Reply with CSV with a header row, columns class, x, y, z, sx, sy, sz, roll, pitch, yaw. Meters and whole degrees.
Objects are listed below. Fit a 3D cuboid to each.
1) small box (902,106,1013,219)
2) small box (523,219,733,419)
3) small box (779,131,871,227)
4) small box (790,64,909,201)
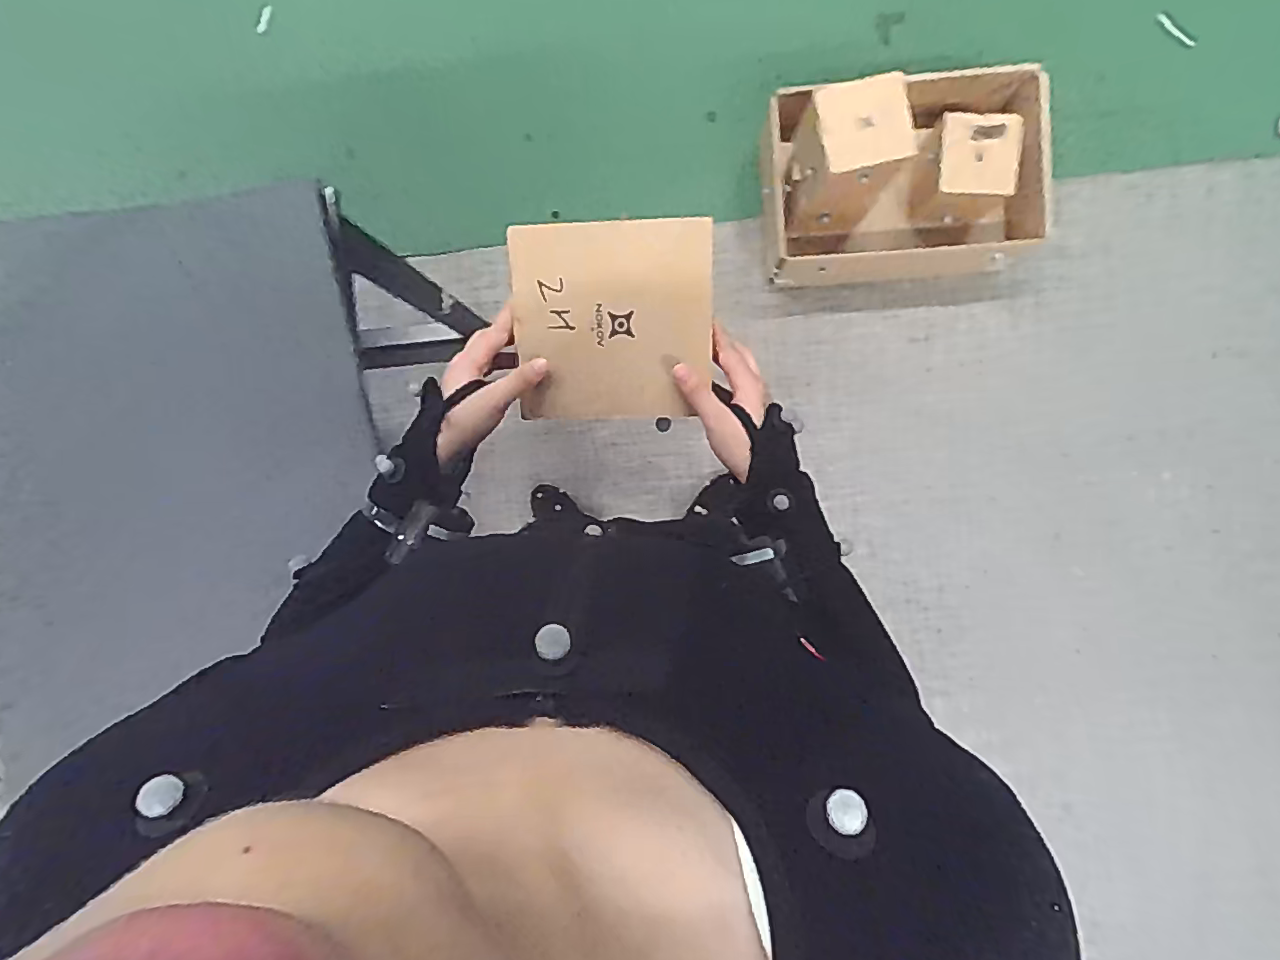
class,x,y,z,sx,sy,sz,roll,pitch,yaw
small box,0.744,-0.748,1.286,0.168,0.176,0.179,3,95,2
small box,-0.007,-0.153,0.537,0.179,0.176,0.168,0,103,4
small box,0.435,-0.724,1.297,0.179,0.176,0.168,-2,94,2
small box,0.426,-0.714,1.133,0.179,0.176,0.168,-13,94,0
